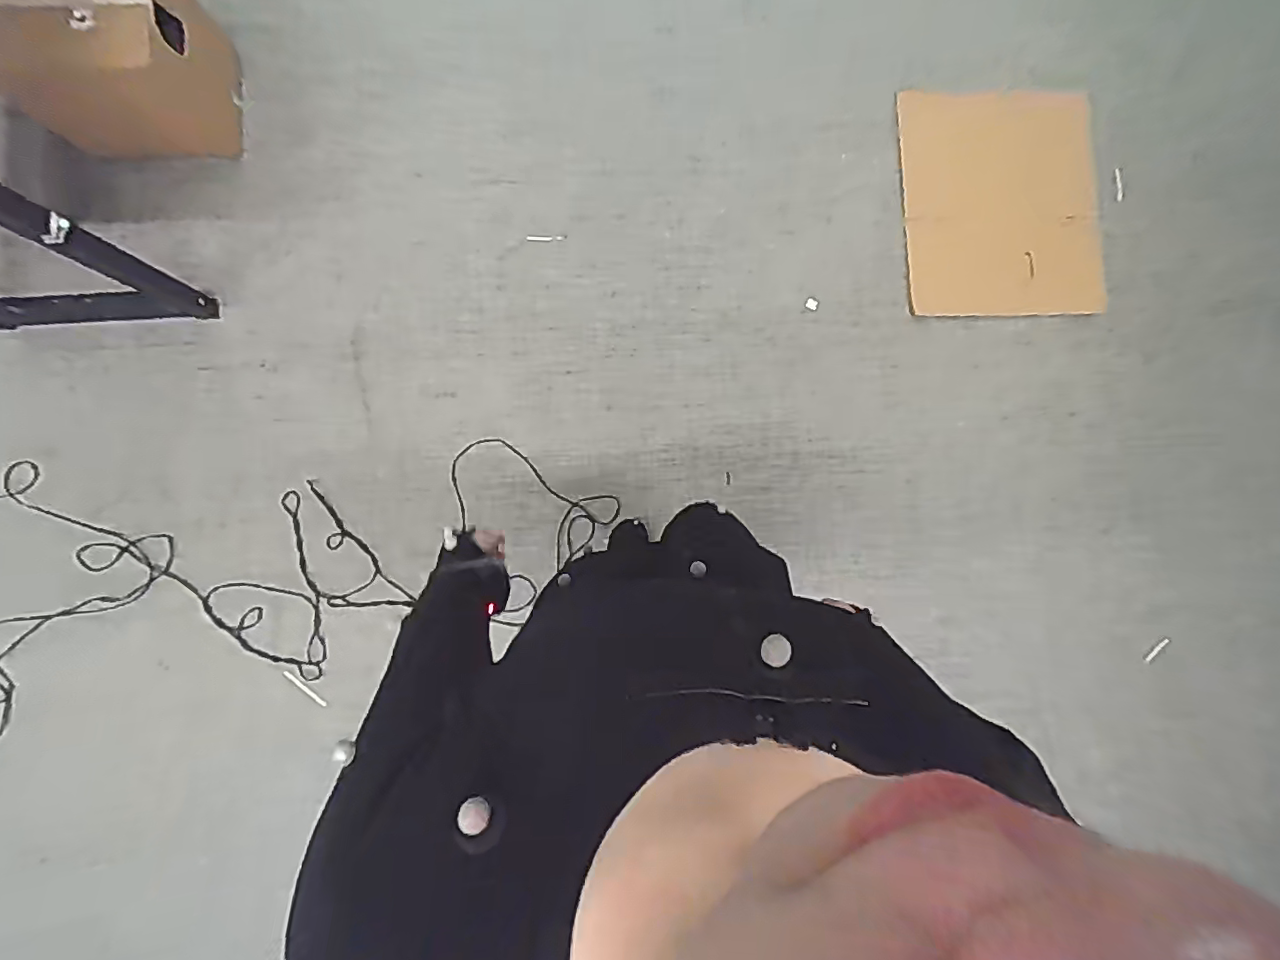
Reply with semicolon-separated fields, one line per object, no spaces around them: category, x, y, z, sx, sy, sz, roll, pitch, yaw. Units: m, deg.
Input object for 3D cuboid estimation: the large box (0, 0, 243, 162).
large box;-1.307;-1.045;1.357;0.408;0.320;0.320;-4;87;-4
